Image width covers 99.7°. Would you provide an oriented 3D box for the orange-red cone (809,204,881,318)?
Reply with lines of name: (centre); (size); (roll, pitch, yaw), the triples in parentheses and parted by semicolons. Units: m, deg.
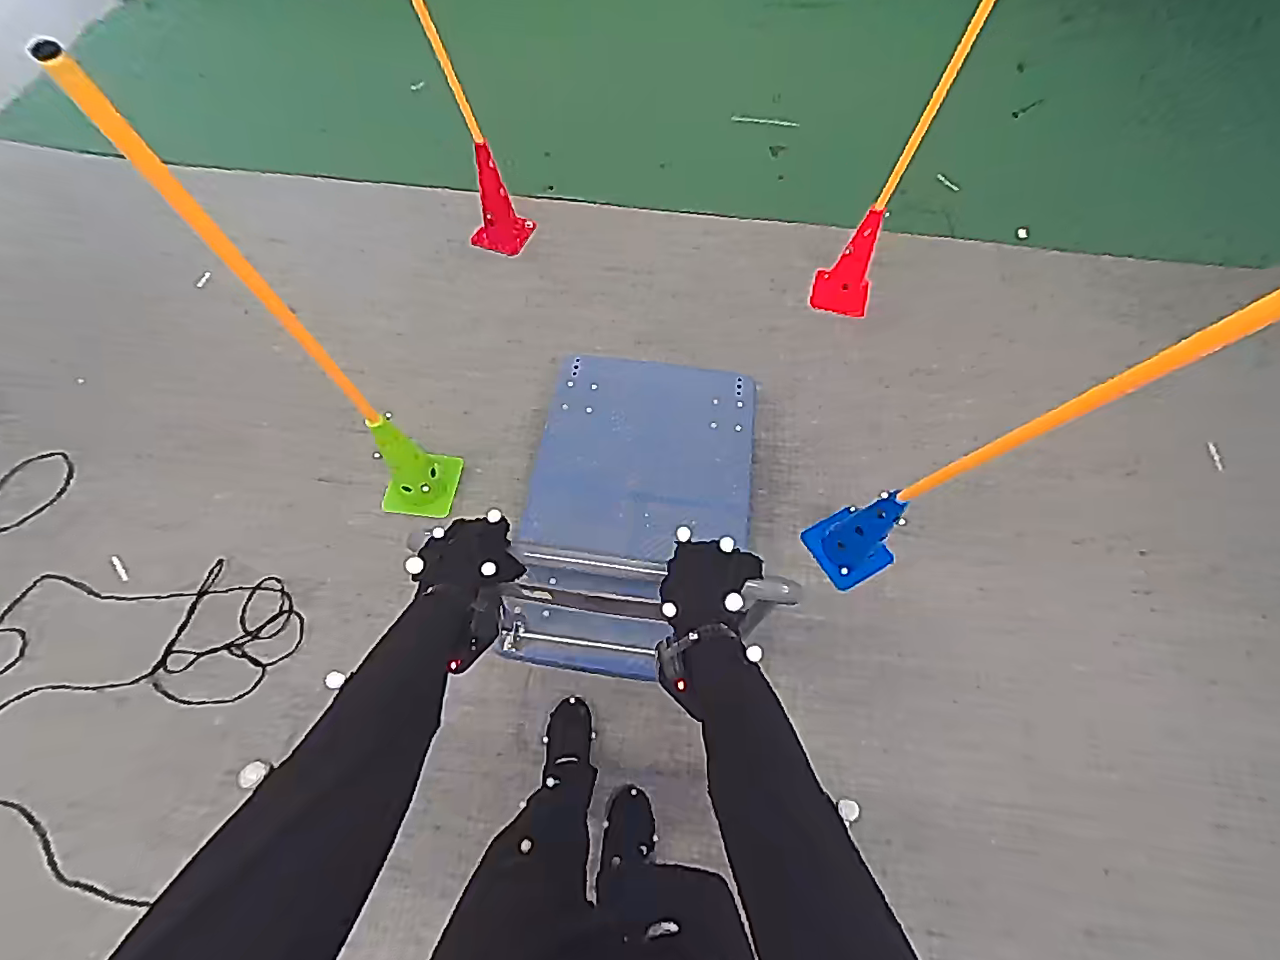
orange-red cone: (0.722, -0.751, 1.808); (0.198, 0.360, 0.199); (17, 66, 8)
